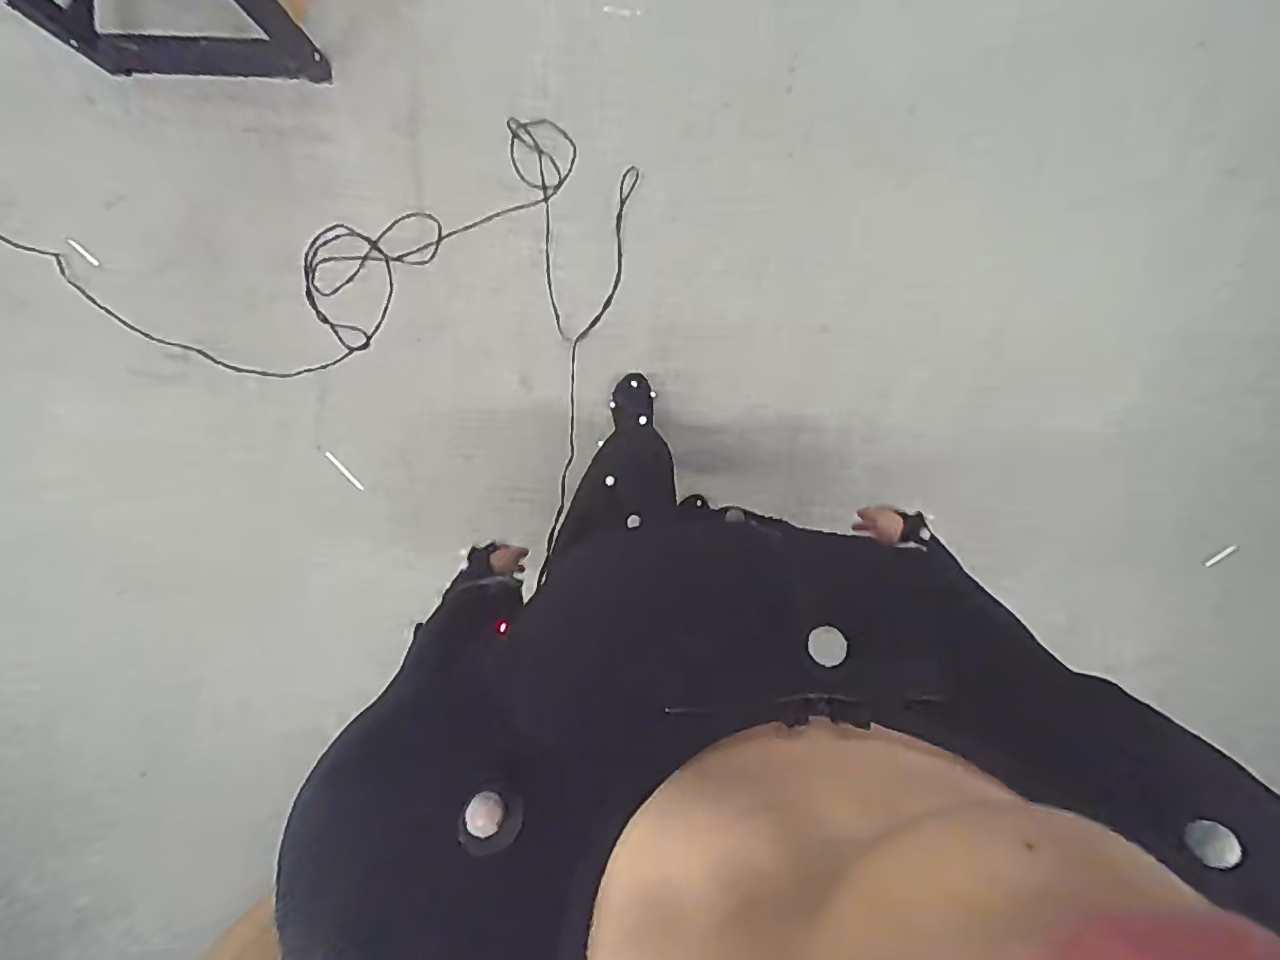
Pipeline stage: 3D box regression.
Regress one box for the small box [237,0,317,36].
[{"bbox_3d":[-0.911,-1.226,1.295,0.179,0.176,0.168,36,94,-2],"label":"small box"}]
